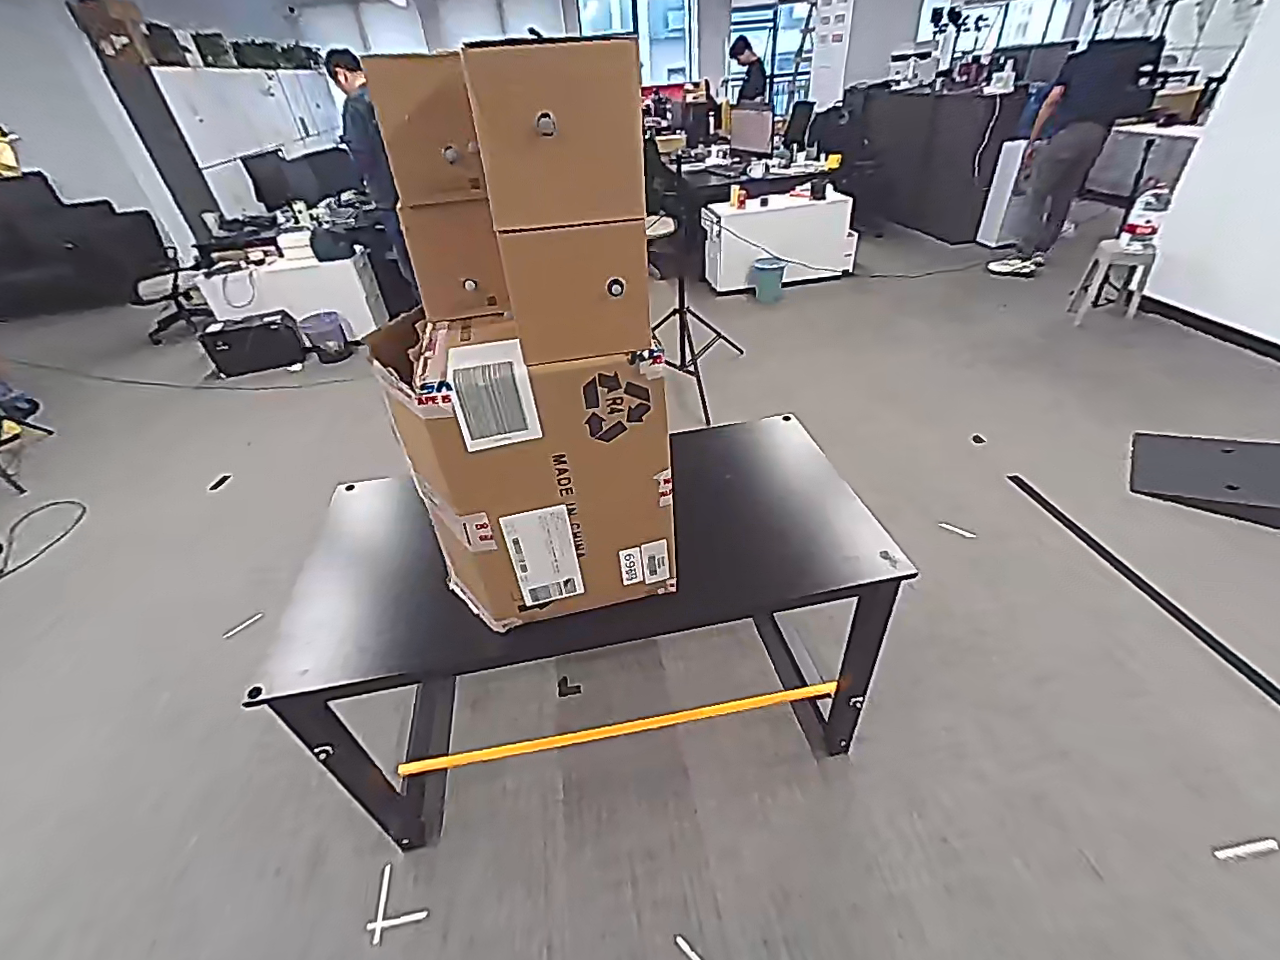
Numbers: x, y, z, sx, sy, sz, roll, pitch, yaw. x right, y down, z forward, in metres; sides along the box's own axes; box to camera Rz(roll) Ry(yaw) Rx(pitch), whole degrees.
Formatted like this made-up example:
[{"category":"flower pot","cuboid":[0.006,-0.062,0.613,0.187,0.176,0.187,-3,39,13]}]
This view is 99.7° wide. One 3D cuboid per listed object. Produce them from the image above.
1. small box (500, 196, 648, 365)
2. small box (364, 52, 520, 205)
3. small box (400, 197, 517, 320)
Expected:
[{"category":"small box","cuboid":[-0.087,-0.274,0.742,0.179,0.176,0.168,-10,37,-7]},{"category":"small box","cuboid":[-0.278,-0.506,0.786,0.168,0.176,0.179,-13,37,-12]},{"category":"small box","cuboid":[-0.277,-0.375,0.888,0.168,0.176,0.179,-12,37,-10]}]
